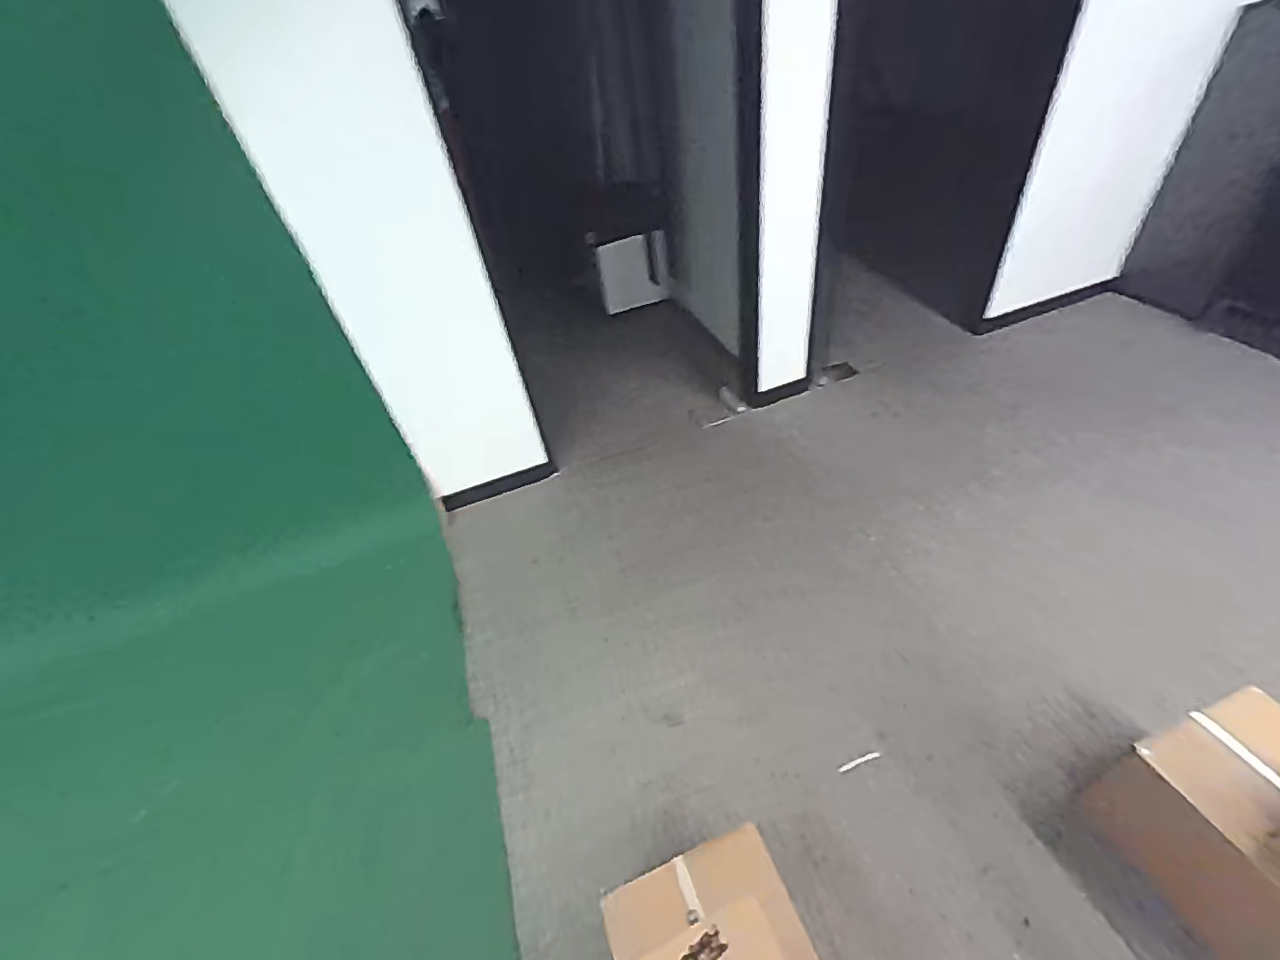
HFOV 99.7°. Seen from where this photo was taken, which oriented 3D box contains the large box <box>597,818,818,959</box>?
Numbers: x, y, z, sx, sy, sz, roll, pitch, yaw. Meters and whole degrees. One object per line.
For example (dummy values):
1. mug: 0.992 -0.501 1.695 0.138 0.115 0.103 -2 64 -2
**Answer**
1. large box: 0.156 0.916 0.955 0.320 0.320 0.408 -20 43 -10
